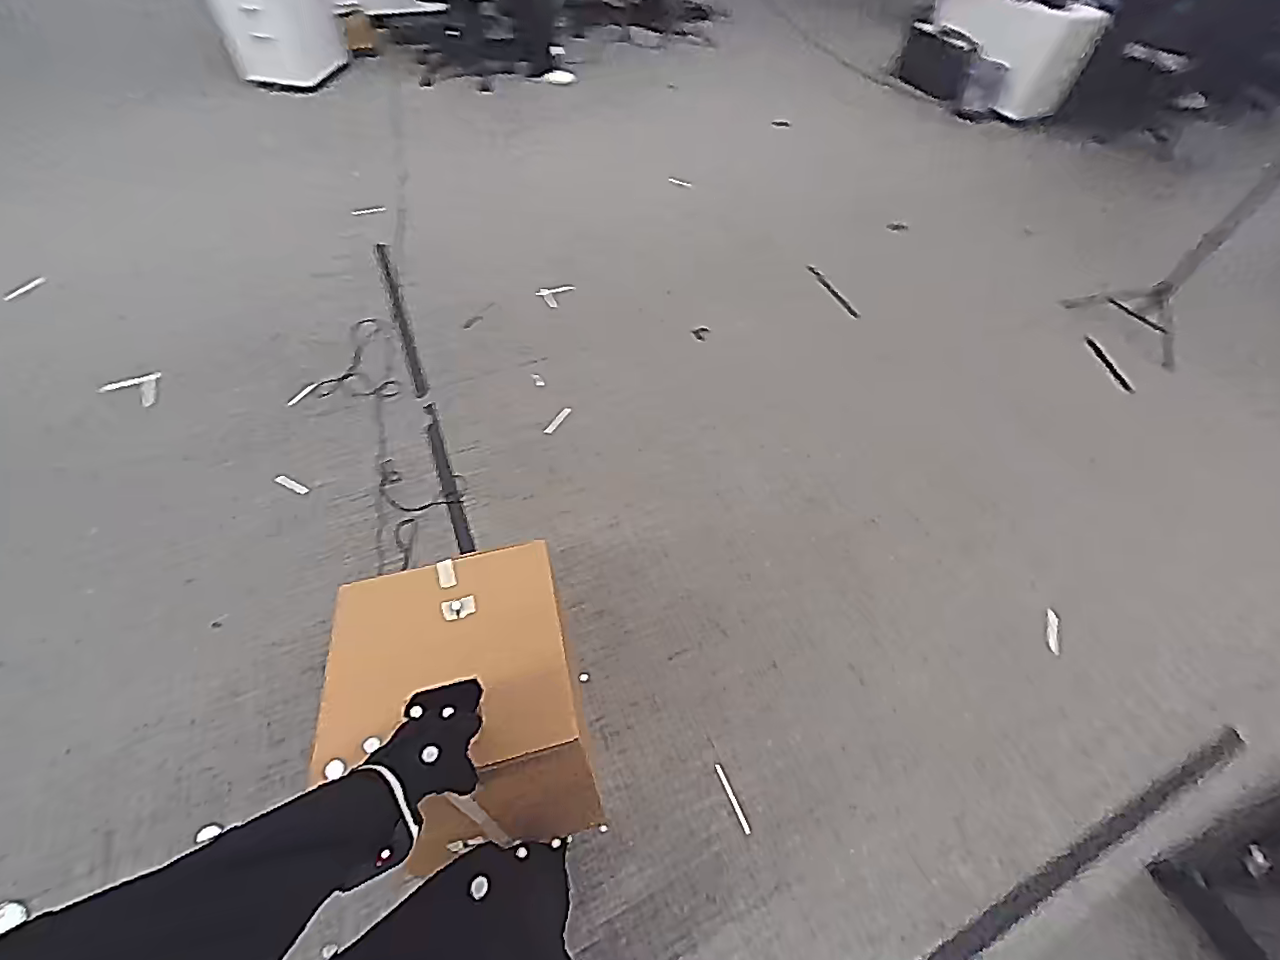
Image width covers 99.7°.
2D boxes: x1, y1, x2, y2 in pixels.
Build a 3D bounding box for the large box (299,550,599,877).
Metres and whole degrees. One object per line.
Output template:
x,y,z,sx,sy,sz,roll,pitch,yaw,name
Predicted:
-0.270,0.377,0.867,0.320,0.408,0.320,-13,48,-9,large box
